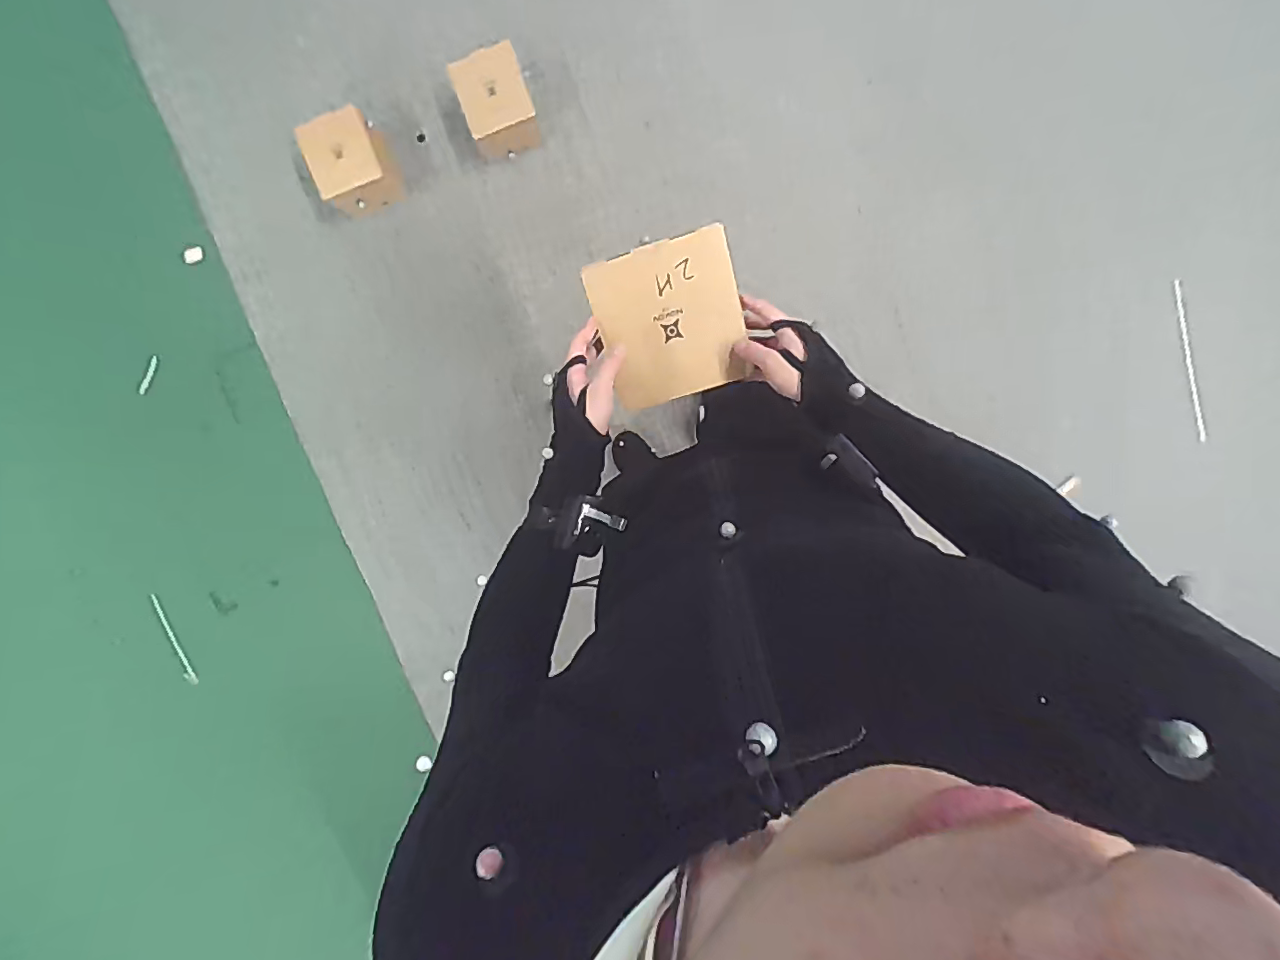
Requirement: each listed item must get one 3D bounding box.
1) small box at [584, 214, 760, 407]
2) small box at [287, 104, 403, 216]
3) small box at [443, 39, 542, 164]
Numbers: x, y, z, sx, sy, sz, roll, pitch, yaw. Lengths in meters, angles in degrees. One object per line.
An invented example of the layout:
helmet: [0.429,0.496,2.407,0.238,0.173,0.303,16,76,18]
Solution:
small box: [0.040,-0.212,0.678,0.168,0.176,0.179,-15,110,5]
small box: [-0.735,-0.796,1.371,0.168,0.176,0.179,-20,98,4]
small box: [-0.359,-0.933,1.349,0.168,0.176,0.179,-19,99,4]
